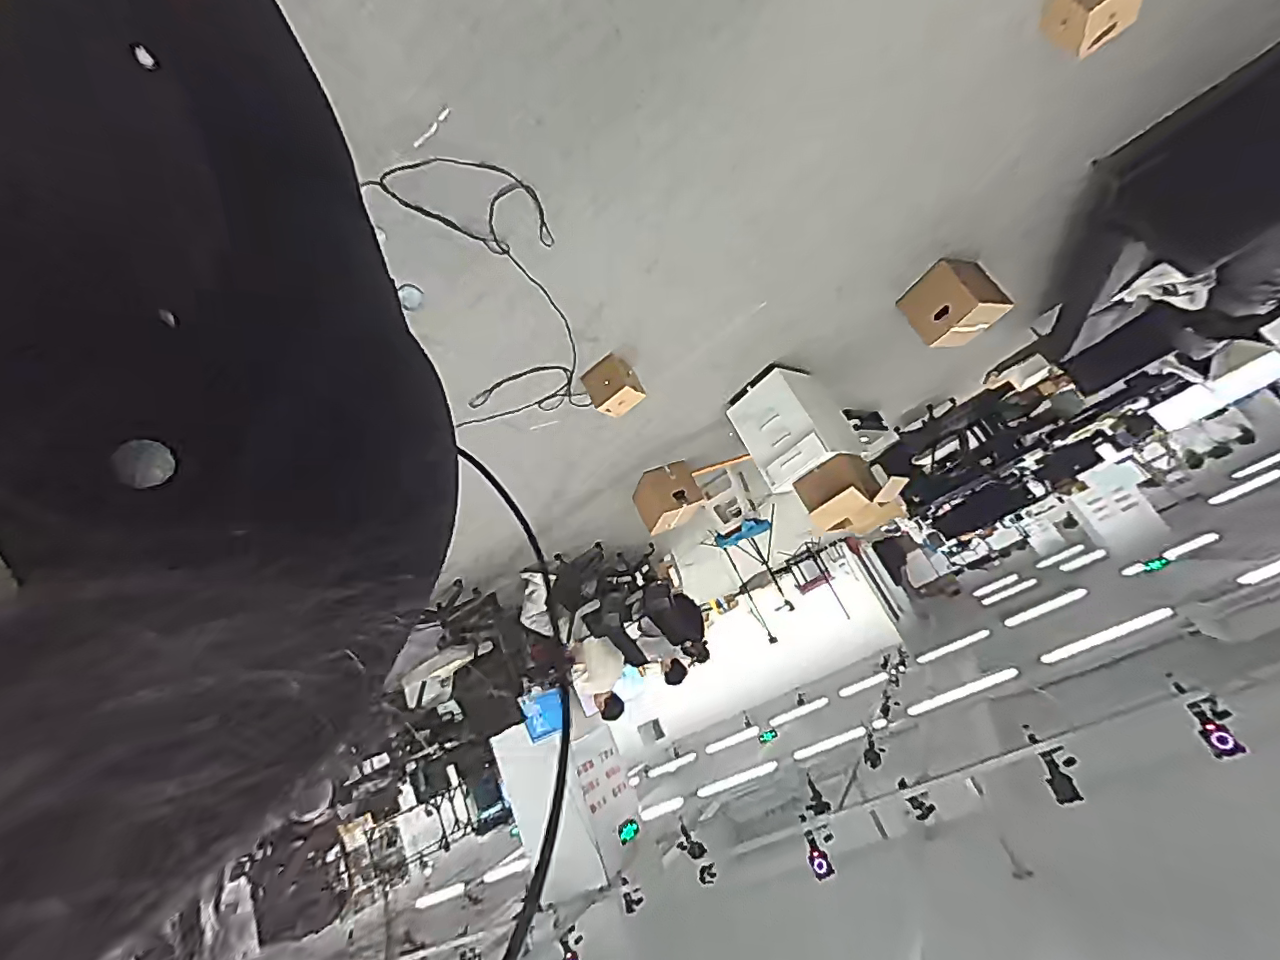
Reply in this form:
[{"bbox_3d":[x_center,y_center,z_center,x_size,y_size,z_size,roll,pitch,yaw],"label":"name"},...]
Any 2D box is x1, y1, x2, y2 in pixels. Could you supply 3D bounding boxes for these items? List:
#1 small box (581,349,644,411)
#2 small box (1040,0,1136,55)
[{"bbox_3d":[-0.119,-0.425,2.293,0.179,0.176,0.168,-35,158,22],"label":"small box"},{"bbox_3d":[1.302,-1.408,1.563,0.168,0.176,0.179,-33,159,19],"label":"small box"}]
